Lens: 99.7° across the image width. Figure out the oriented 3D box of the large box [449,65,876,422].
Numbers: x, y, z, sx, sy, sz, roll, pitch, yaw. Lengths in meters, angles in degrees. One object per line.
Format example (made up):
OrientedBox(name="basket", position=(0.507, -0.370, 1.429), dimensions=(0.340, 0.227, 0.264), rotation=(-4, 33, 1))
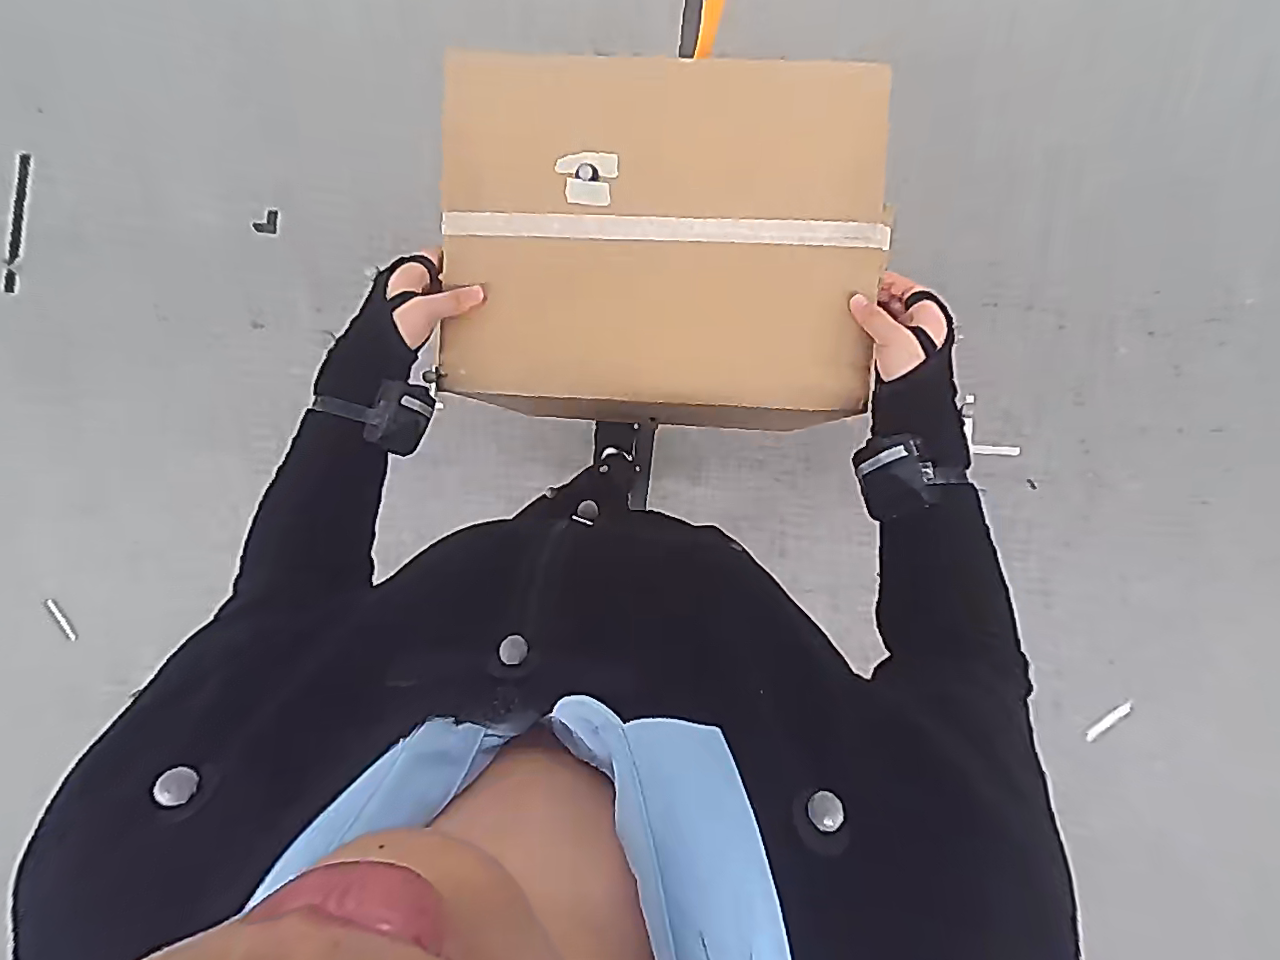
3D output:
OrientedBox(name="large box", position=(0.028, -0.238, 0.661), dimensions=(0.408, 0.320, 0.320), rotation=(3, 91, 4))
